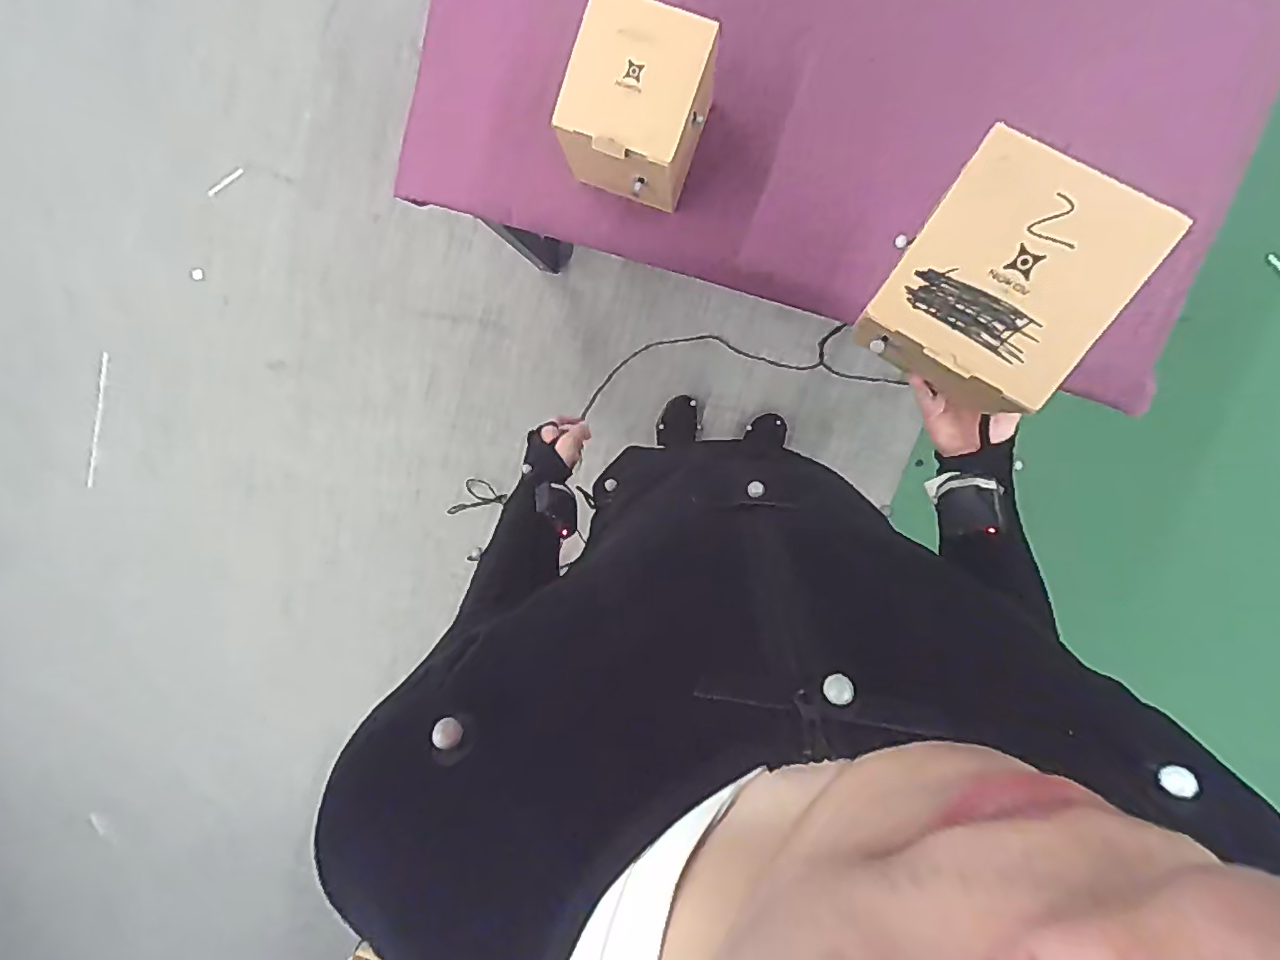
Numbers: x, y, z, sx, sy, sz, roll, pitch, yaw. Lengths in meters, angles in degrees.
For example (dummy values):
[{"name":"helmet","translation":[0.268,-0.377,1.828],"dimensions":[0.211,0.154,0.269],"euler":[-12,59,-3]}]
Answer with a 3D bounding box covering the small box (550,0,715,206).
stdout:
[{"name":"small box","translation":[-0.003,-0.516,0.753],"dimensions":[0.168,0.176,0.179],"euler":[21,98,2]}]
